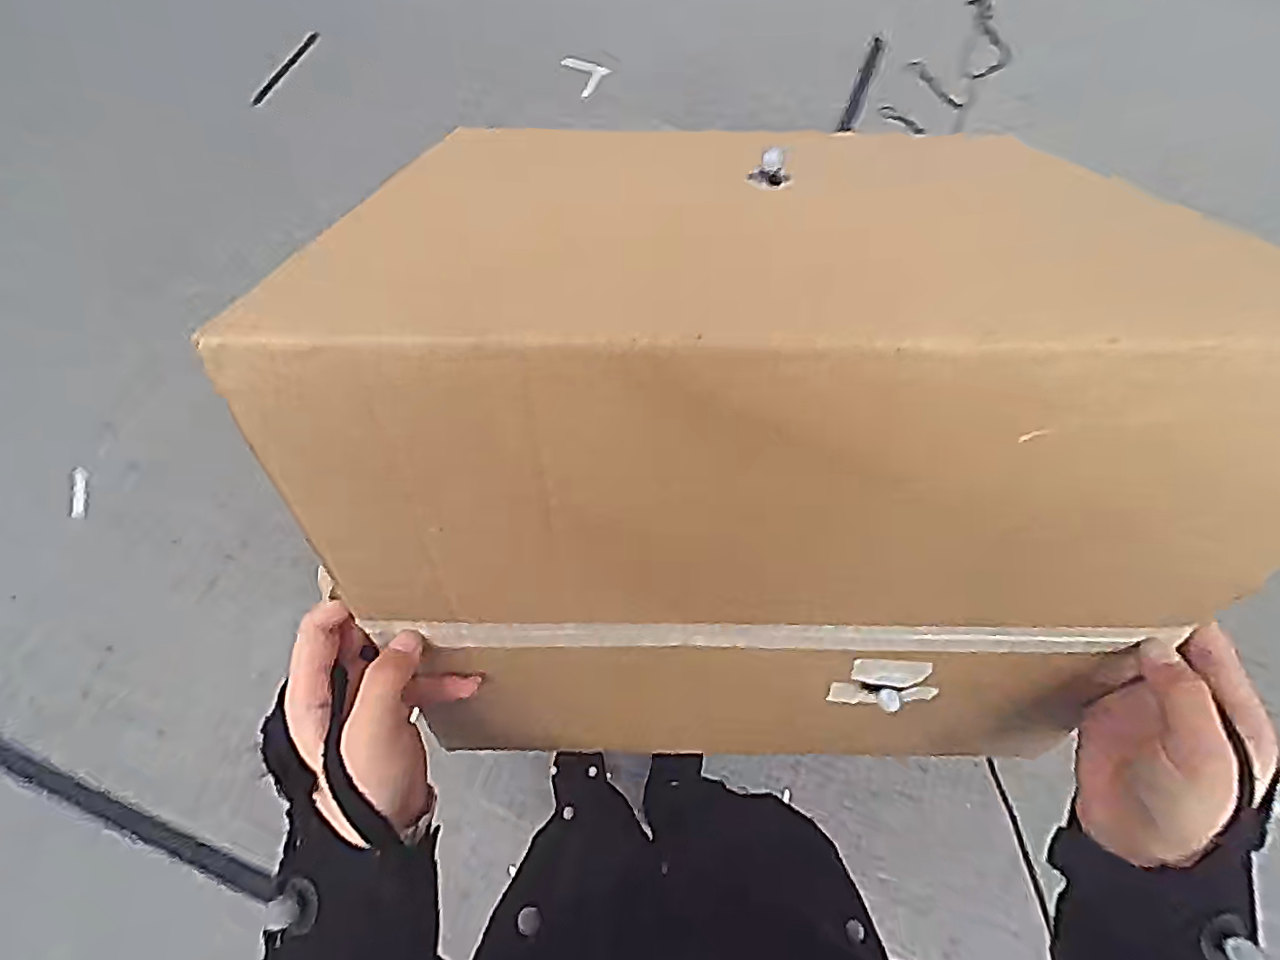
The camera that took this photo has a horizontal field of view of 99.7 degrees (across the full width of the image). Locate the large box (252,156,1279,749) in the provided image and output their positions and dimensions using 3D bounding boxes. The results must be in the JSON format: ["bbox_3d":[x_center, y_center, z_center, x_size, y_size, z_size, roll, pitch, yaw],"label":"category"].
[{"bbox_3d":[0.065,-0.025,0.388,0.408,0.320,0.320,0,43,0],"label":"large box"}]
